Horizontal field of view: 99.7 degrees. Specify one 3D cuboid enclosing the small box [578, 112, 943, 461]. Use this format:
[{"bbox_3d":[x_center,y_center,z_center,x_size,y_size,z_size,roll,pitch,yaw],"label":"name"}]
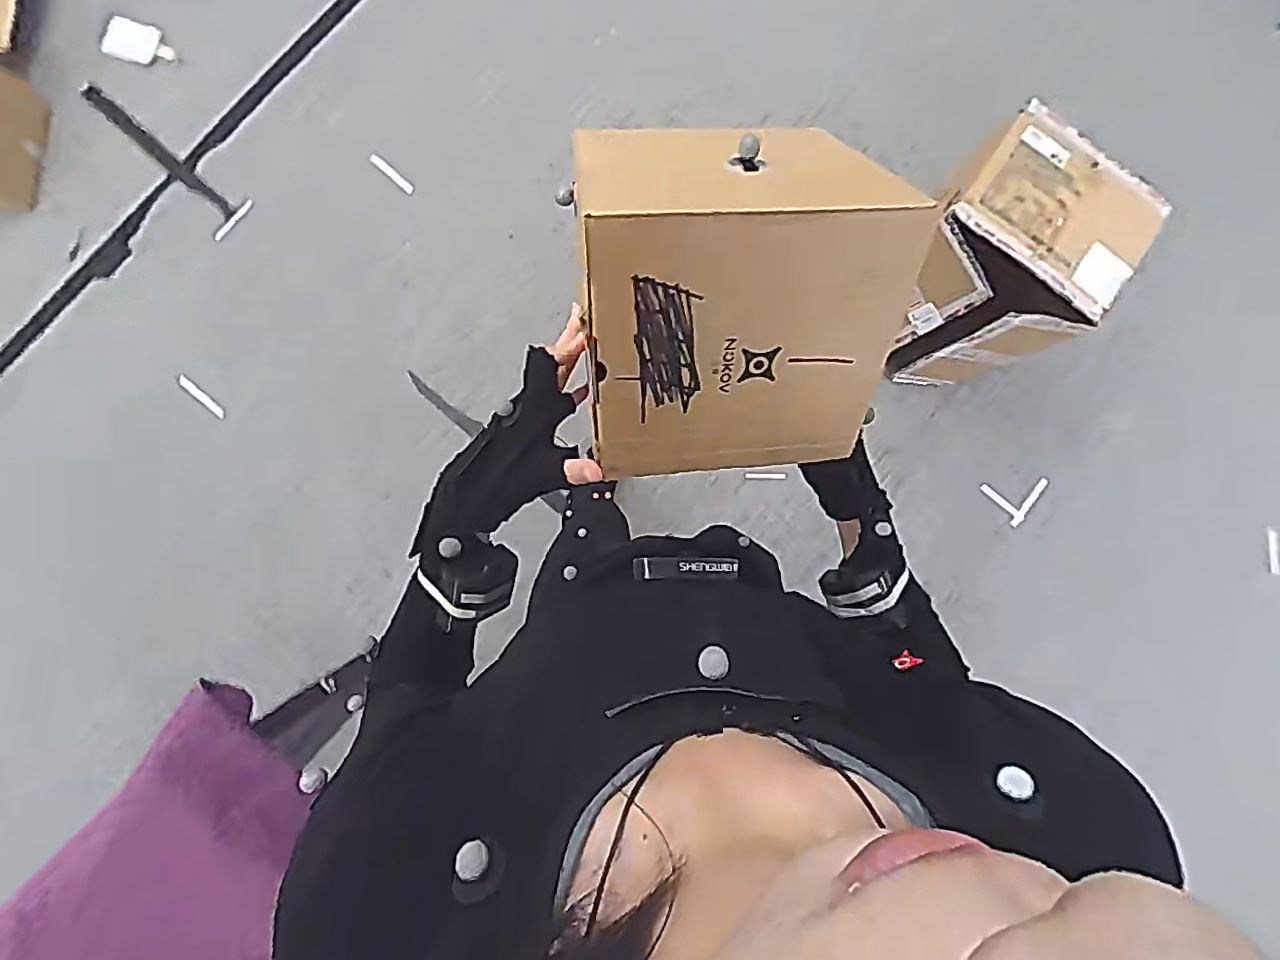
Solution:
[{"bbox_3d":[0.049,-0.132,0.362,0.179,0.168,0.176,-4,45,-5],"label":"small box"}]
